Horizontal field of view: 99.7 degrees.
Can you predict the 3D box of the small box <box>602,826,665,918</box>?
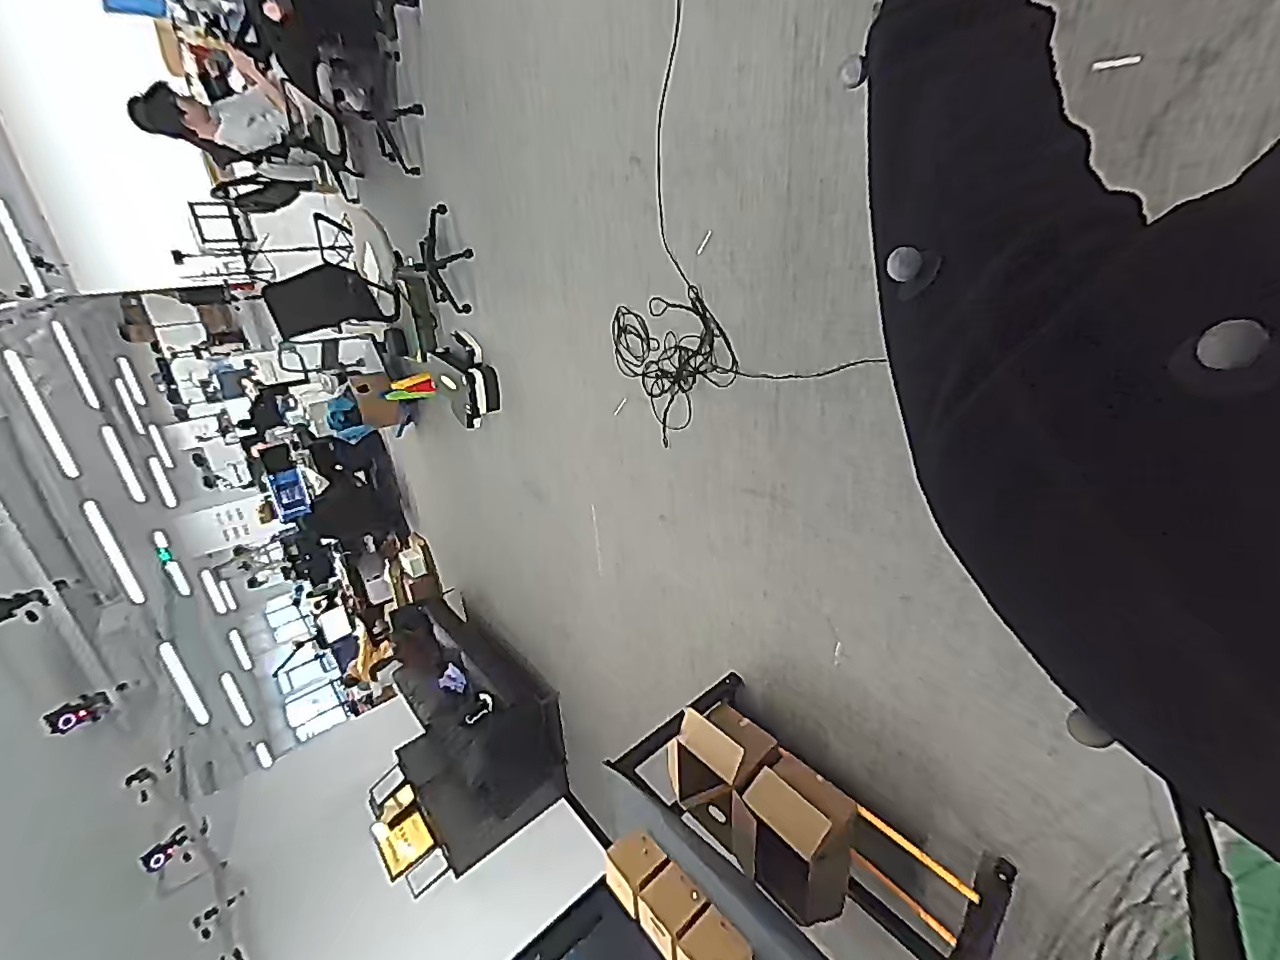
[{"bbox_3d":[-0.019,1.418,1.966,0.168,0.176,0.179,24,125,45],"label":"small box"}]
